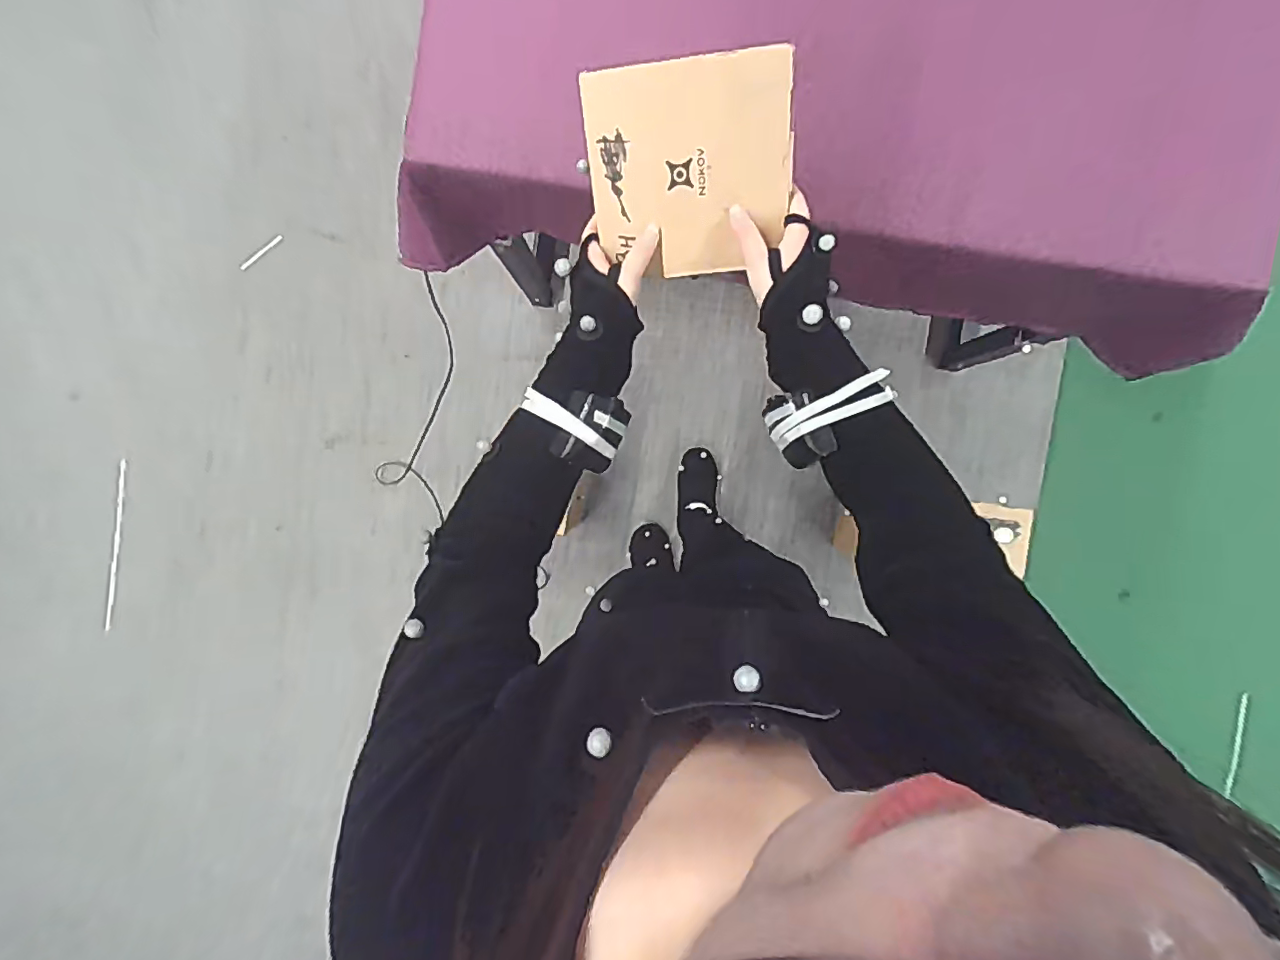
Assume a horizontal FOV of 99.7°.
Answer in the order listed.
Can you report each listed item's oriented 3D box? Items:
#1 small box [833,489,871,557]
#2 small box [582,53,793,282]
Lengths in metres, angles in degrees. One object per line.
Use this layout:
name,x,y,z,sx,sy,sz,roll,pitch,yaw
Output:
small box,0.622,0.115,1.412,0.179,0.176,0.168,7,92,-1
small box,0.047,-0.302,0.546,0.179,0.176,0.168,-4,116,5
